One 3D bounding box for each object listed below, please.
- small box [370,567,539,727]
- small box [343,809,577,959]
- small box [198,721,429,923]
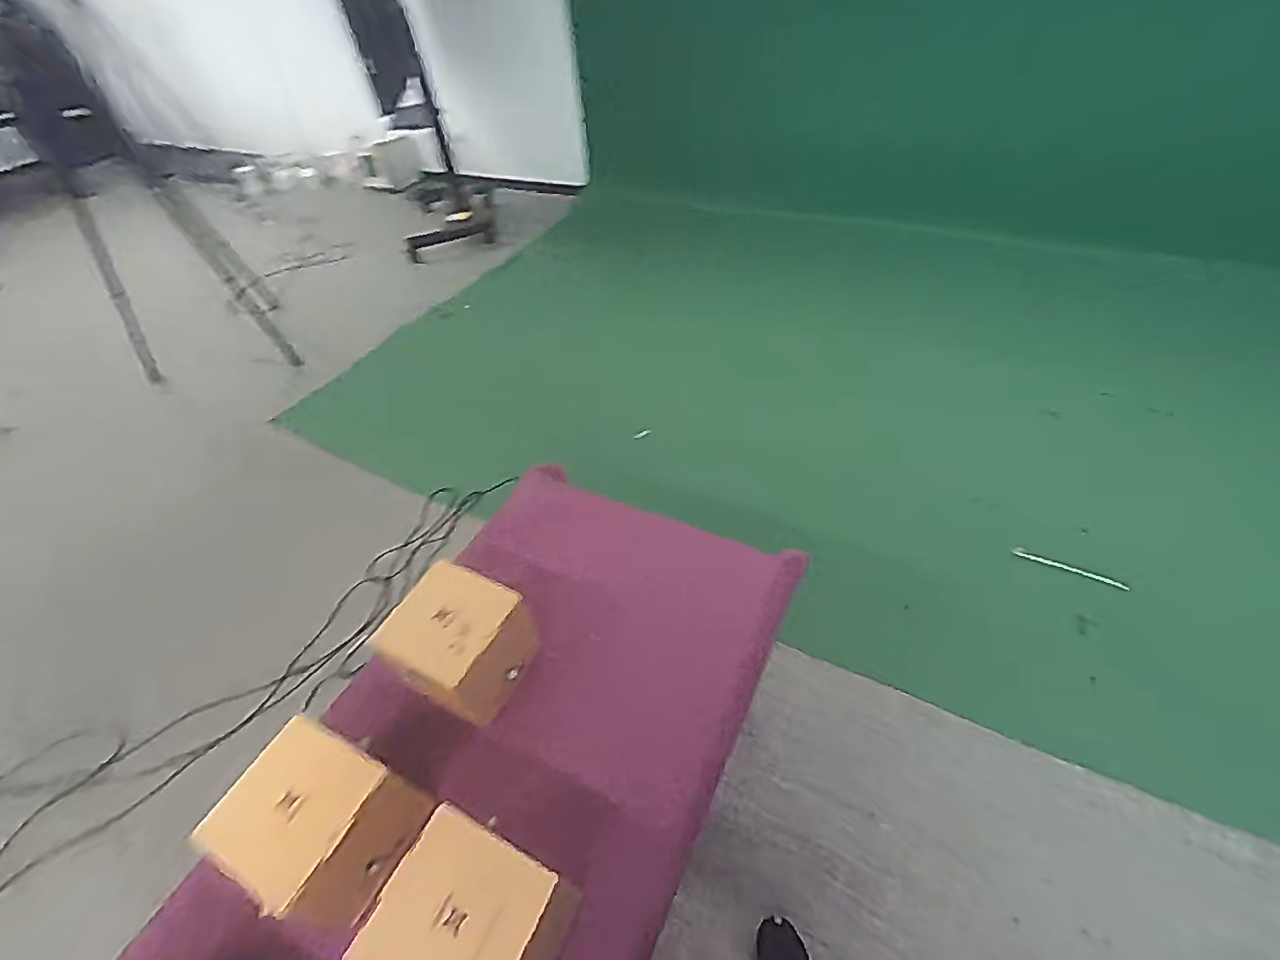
[{"bbox_3d":[-0.297,0.280,0.900,0.179,0.176,0.168,18,53,22],"label":"small box"},{"bbox_3d":[-0.199,0.538,0.647,0.179,0.176,0.168,17,52,22],"label":"small box"},{"bbox_3d":[-0.431,0.471,0.743,0.179,0.176,0.168,17,52,21],"label":"small box"}]
